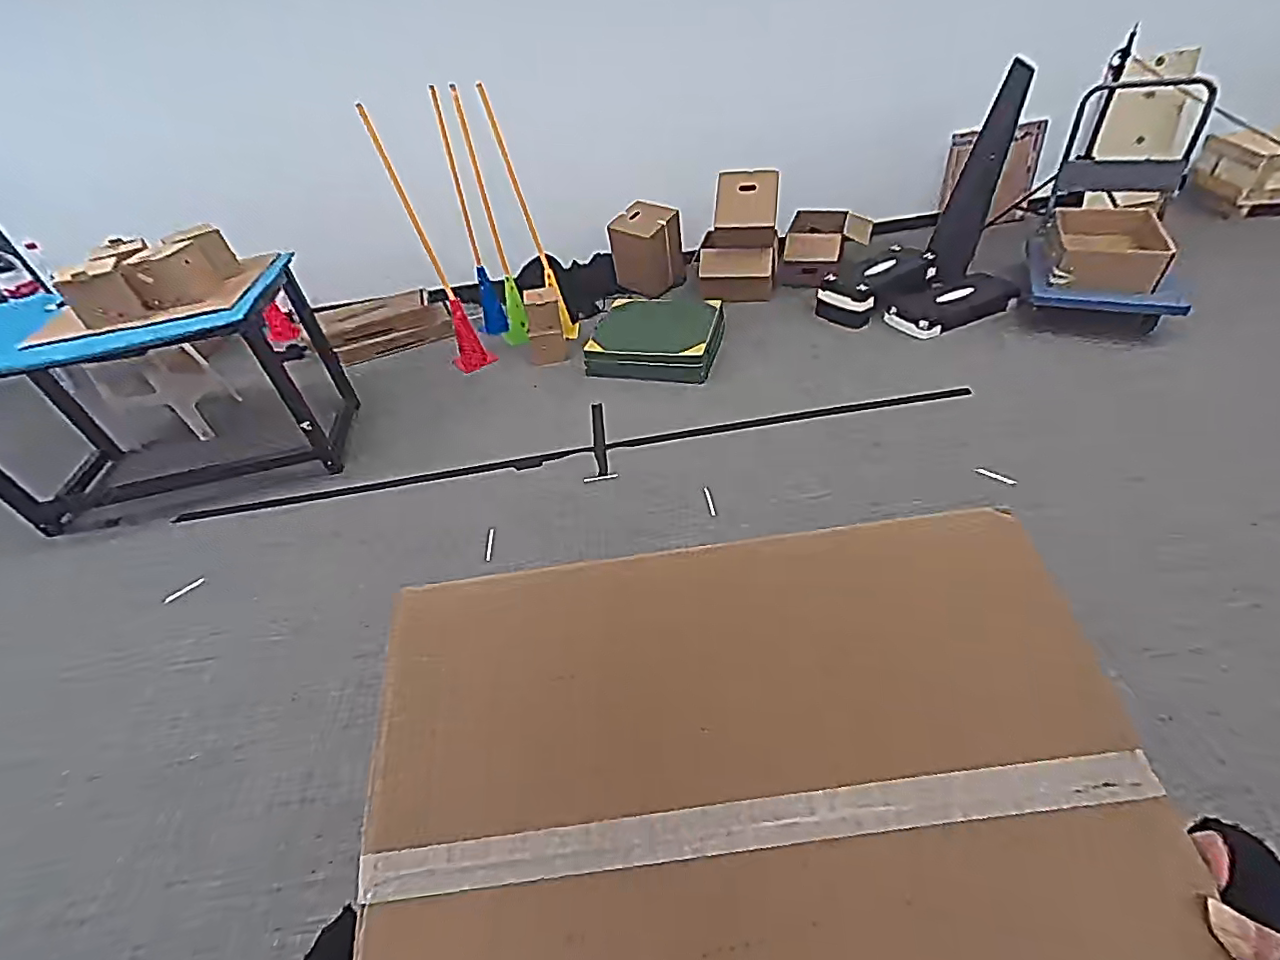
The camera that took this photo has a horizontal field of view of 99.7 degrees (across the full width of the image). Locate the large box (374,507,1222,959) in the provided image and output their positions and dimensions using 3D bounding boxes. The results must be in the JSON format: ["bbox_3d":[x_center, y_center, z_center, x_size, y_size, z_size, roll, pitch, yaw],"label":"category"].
[{"bbox_3d":[0.069,0.254,0.417,0.408,0.320,0.320,-8,60,1],"label":"large box"}]
